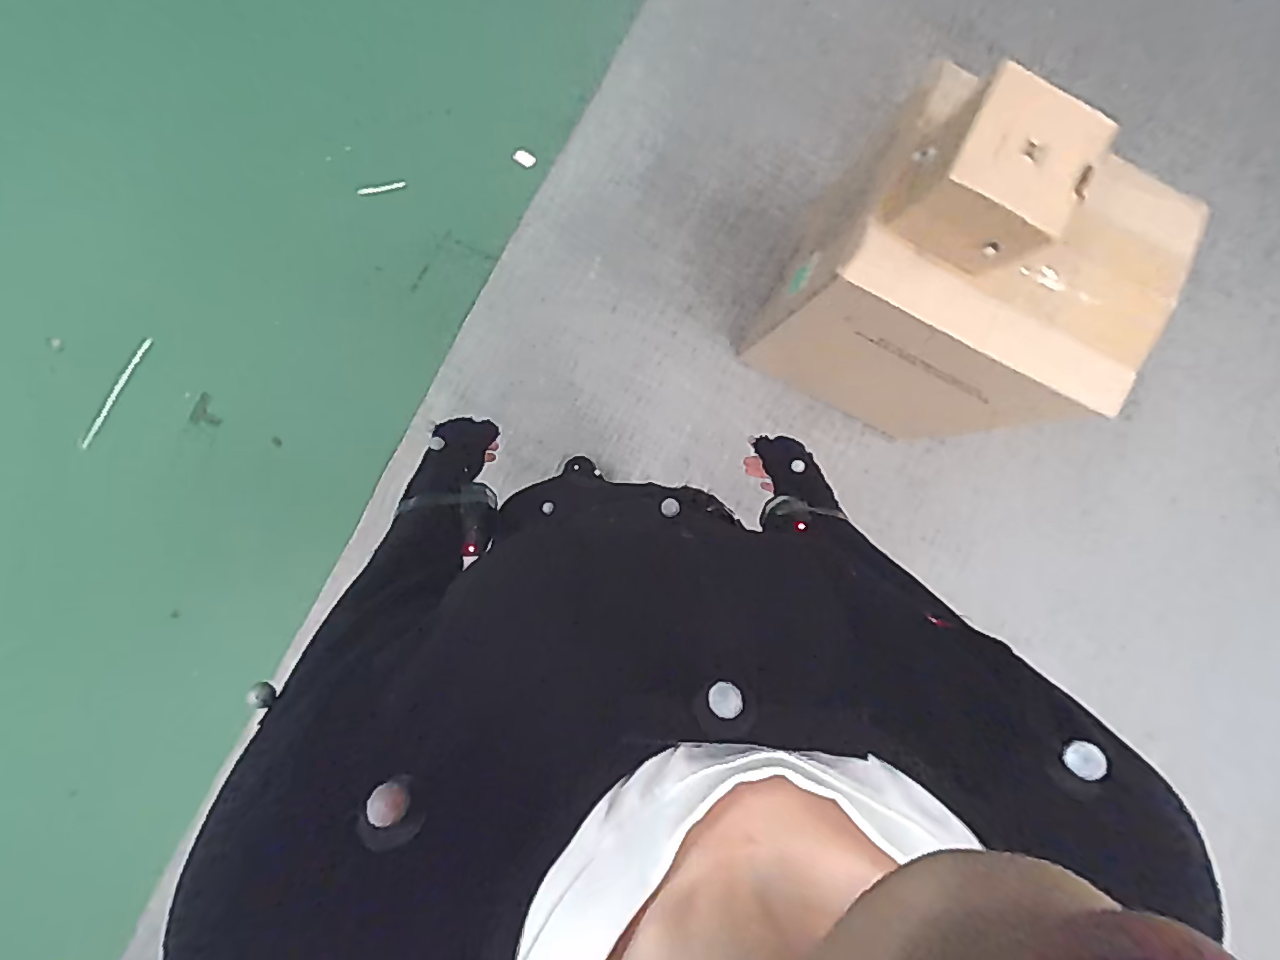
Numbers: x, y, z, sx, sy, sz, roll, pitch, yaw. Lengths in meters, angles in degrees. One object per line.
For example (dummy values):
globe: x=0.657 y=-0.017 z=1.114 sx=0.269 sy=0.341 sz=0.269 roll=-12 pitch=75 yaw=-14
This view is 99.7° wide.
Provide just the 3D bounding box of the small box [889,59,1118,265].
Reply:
small box: x=0.503 y=-0.434 z=0.776 sx=0.179 sy=0.176 sz=0.168 roll=25 pitch=93 yaw=-3
